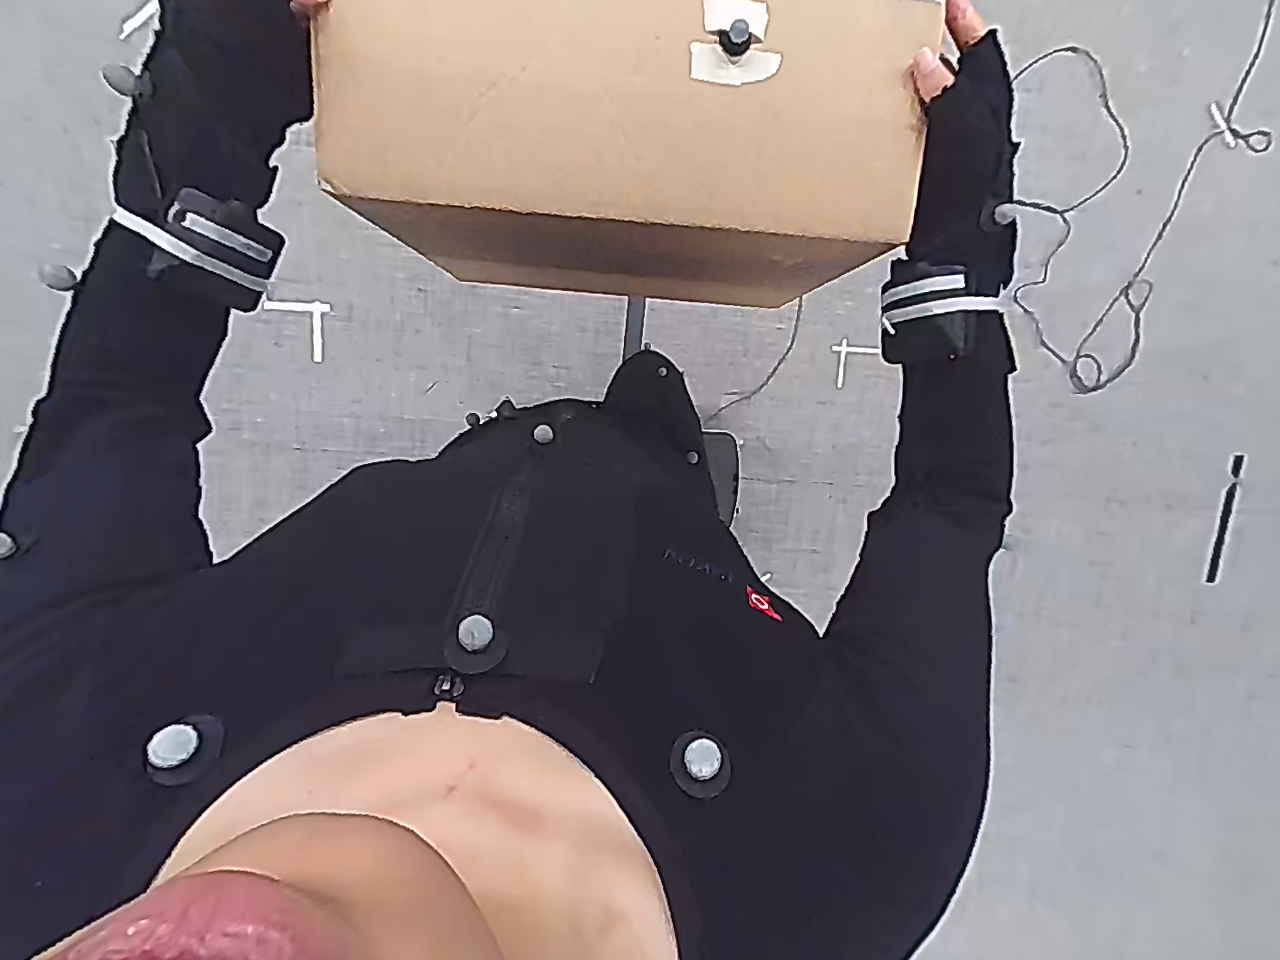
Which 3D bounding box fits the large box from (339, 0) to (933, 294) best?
[{"bbox_3d":[-0.005,-0.368,0.504,0.408,0.320,0.320,3,100,-3],"label":"large box"}]
